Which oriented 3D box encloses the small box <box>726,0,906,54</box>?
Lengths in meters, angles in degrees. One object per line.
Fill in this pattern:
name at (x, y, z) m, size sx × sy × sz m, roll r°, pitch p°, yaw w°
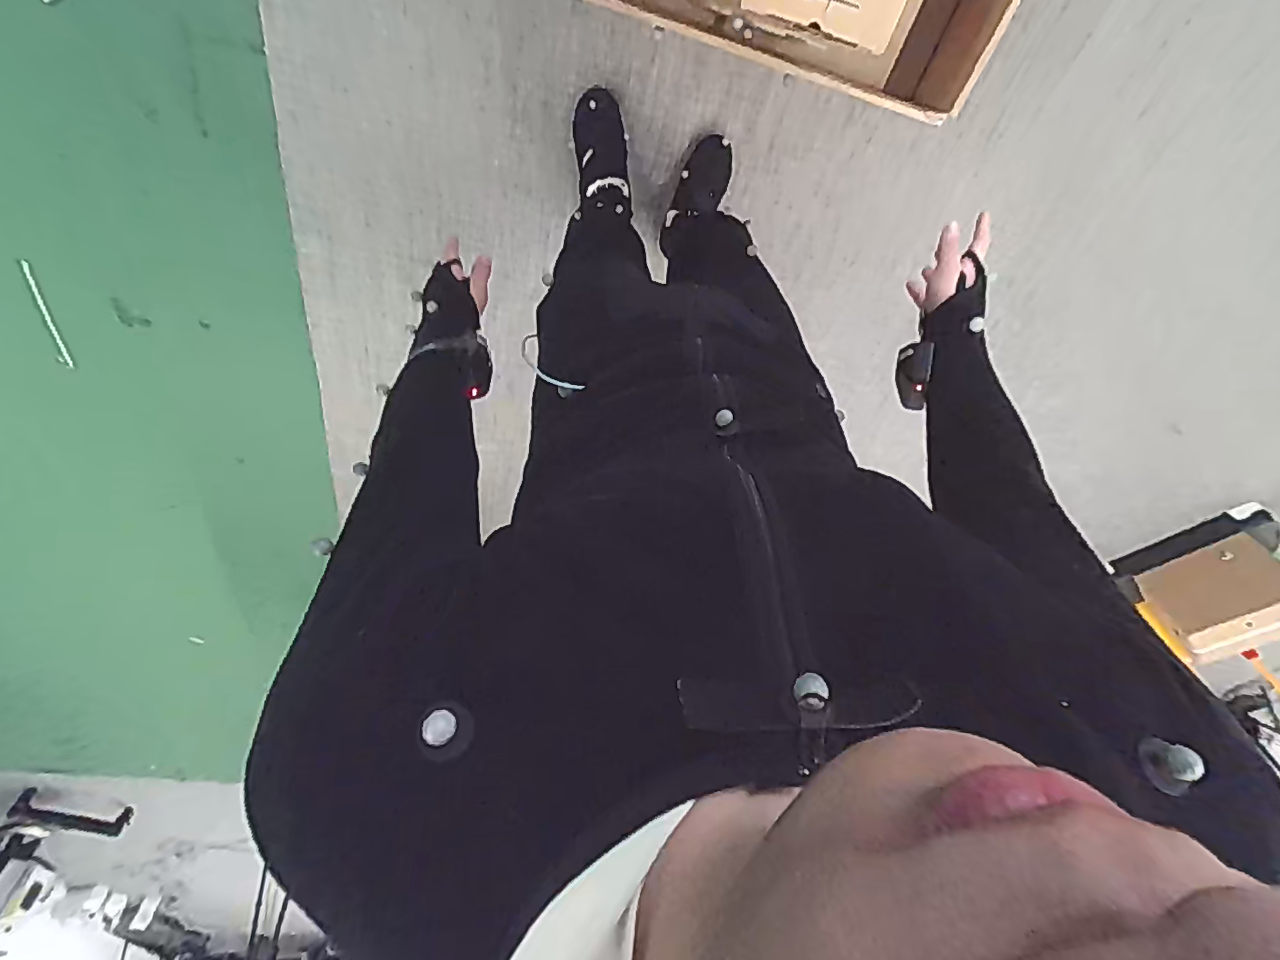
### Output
small box at (0.193, -0.575, 0.556) m, size 0.168 × 0.176 × 0.179 m, roll 8°, pitch 130°, yaw -12°
